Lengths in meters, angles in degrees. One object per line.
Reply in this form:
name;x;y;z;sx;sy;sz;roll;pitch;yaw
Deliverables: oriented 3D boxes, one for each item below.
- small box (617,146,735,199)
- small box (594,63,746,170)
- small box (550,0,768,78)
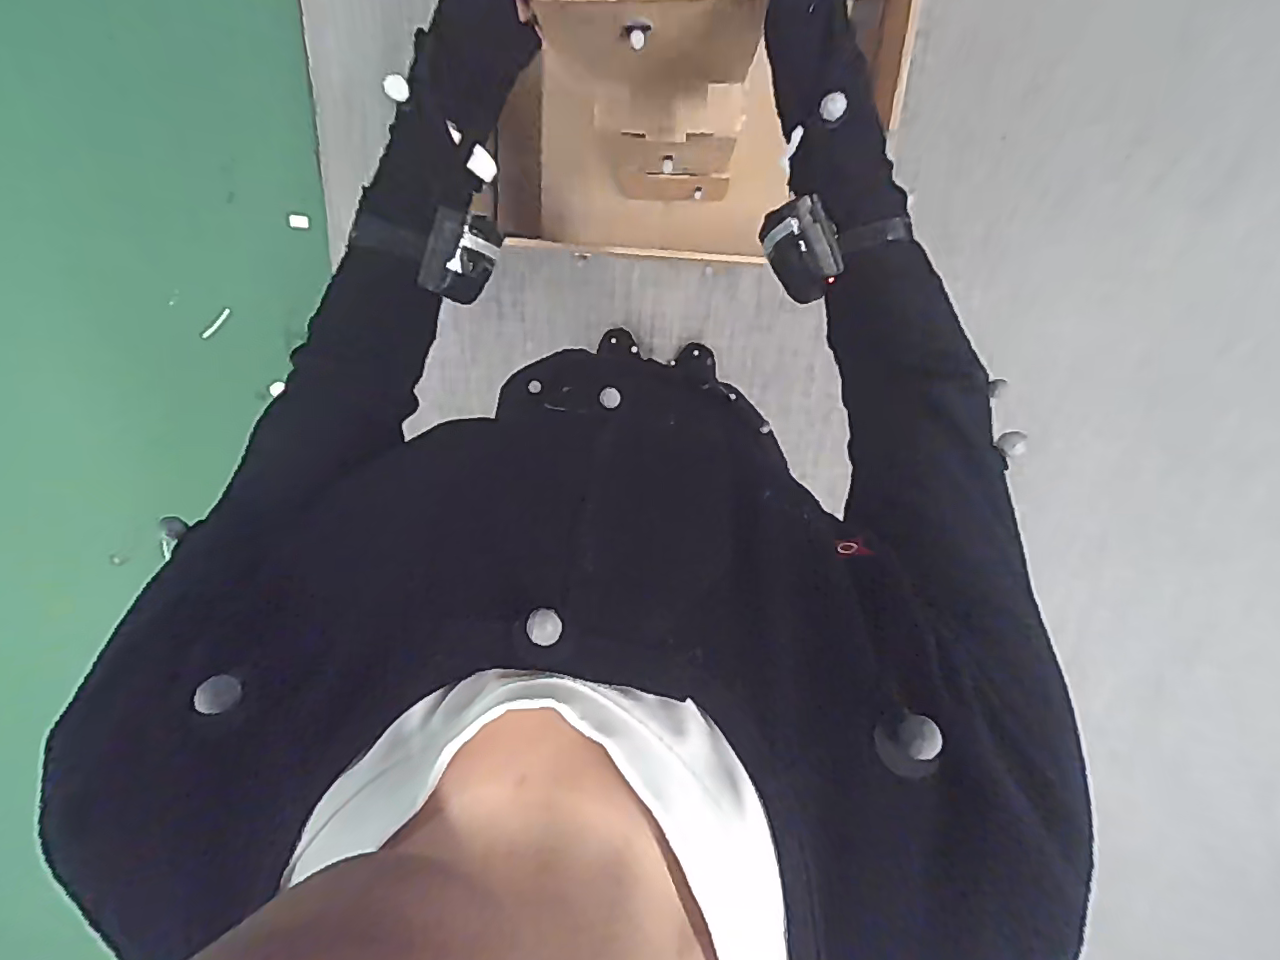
small box;0.060;-0.532;0.807;0.168;0.176;0.179;3;105;3
small box;0.040;-0.487;0.650;0.168;0.176;0.179;4;108;3
small box;0.016;-0.440;0.422;0.179;0.176;0.168;2;109;2
